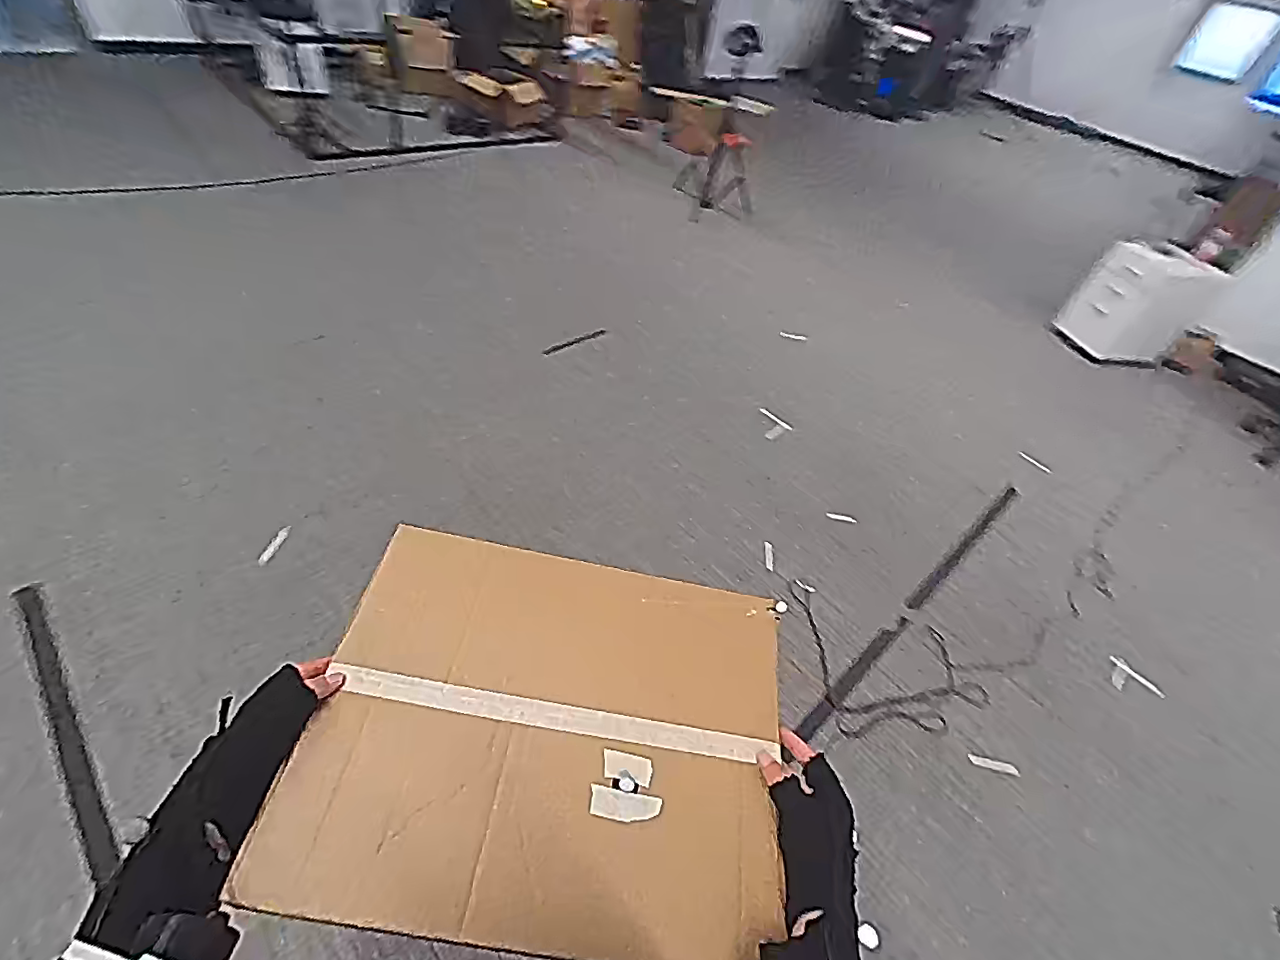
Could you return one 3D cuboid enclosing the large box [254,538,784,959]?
[{"bbox_3d":[-0.094,0.308,0.603,0.408,0.320,0.320,13,52,-4],"label":"large box"}]
